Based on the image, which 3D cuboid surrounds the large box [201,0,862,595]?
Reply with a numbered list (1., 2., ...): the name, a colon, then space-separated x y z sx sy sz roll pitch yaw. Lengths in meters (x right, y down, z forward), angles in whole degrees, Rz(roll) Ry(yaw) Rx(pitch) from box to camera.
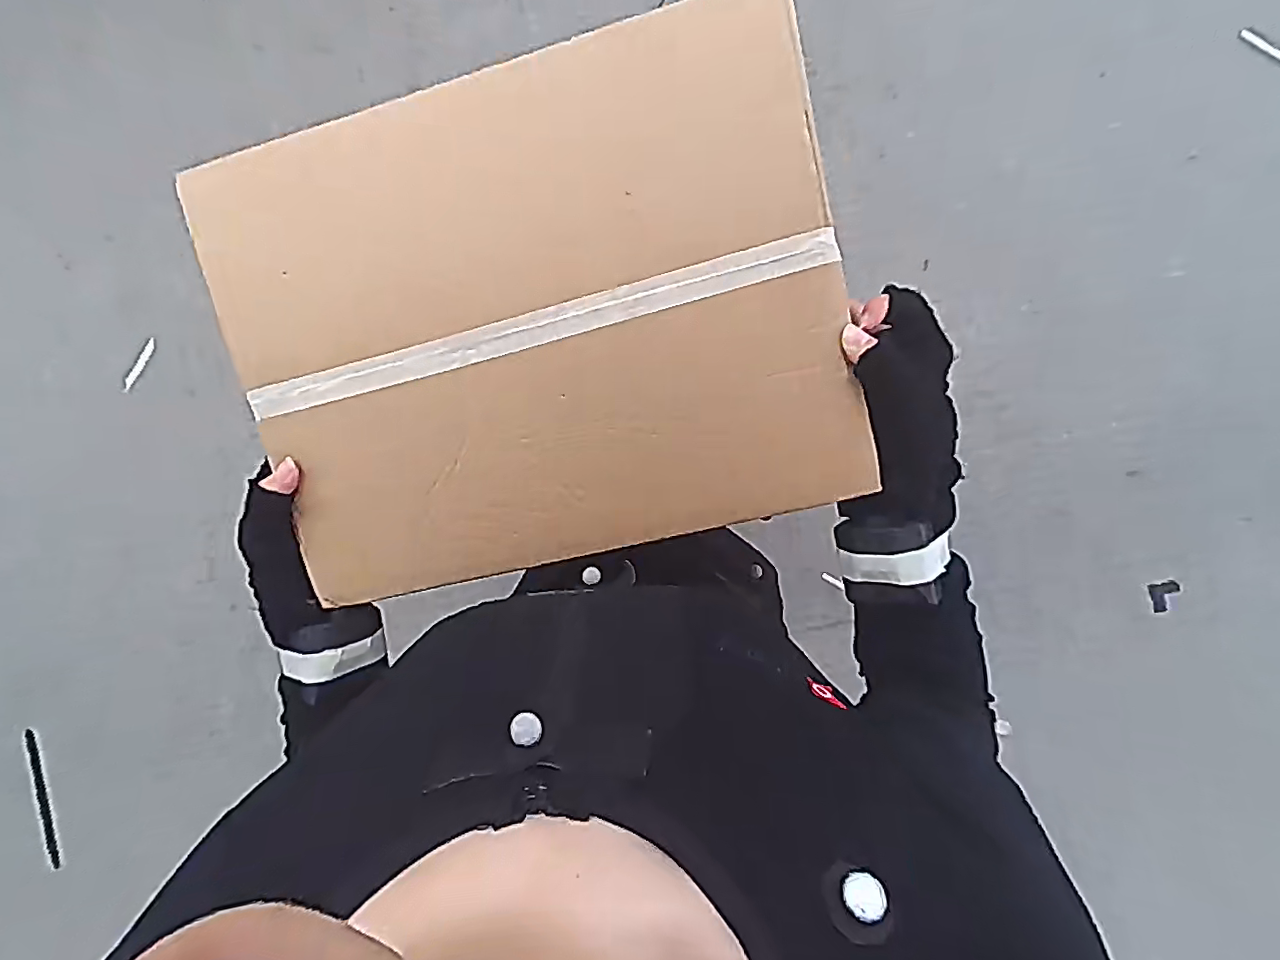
1. large box: -0.061 -0.129 0.513 0.408 0.320 0.320 -13 98 8
